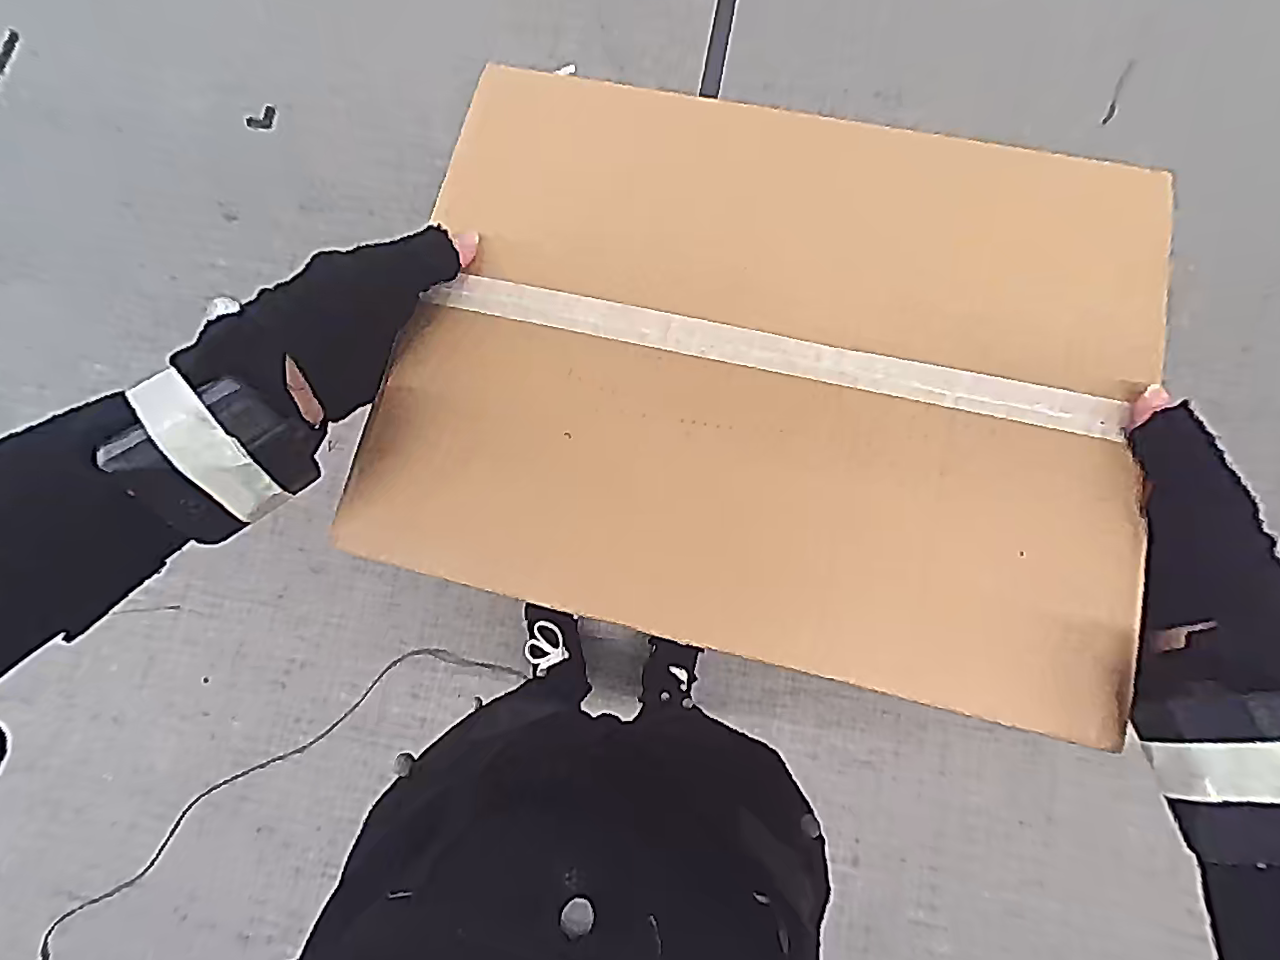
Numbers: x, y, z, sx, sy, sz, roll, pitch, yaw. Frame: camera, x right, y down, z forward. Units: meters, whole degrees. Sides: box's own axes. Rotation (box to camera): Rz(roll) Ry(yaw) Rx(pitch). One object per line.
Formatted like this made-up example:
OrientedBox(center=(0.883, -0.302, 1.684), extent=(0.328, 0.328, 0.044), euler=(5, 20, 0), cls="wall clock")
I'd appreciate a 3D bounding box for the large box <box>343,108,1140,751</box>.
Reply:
OrientedBox(center=(0.067, -0.027, 0.449), extent=(0.408, 0.320, 0.320), euler=(13, 82, 6), cls="large box")
